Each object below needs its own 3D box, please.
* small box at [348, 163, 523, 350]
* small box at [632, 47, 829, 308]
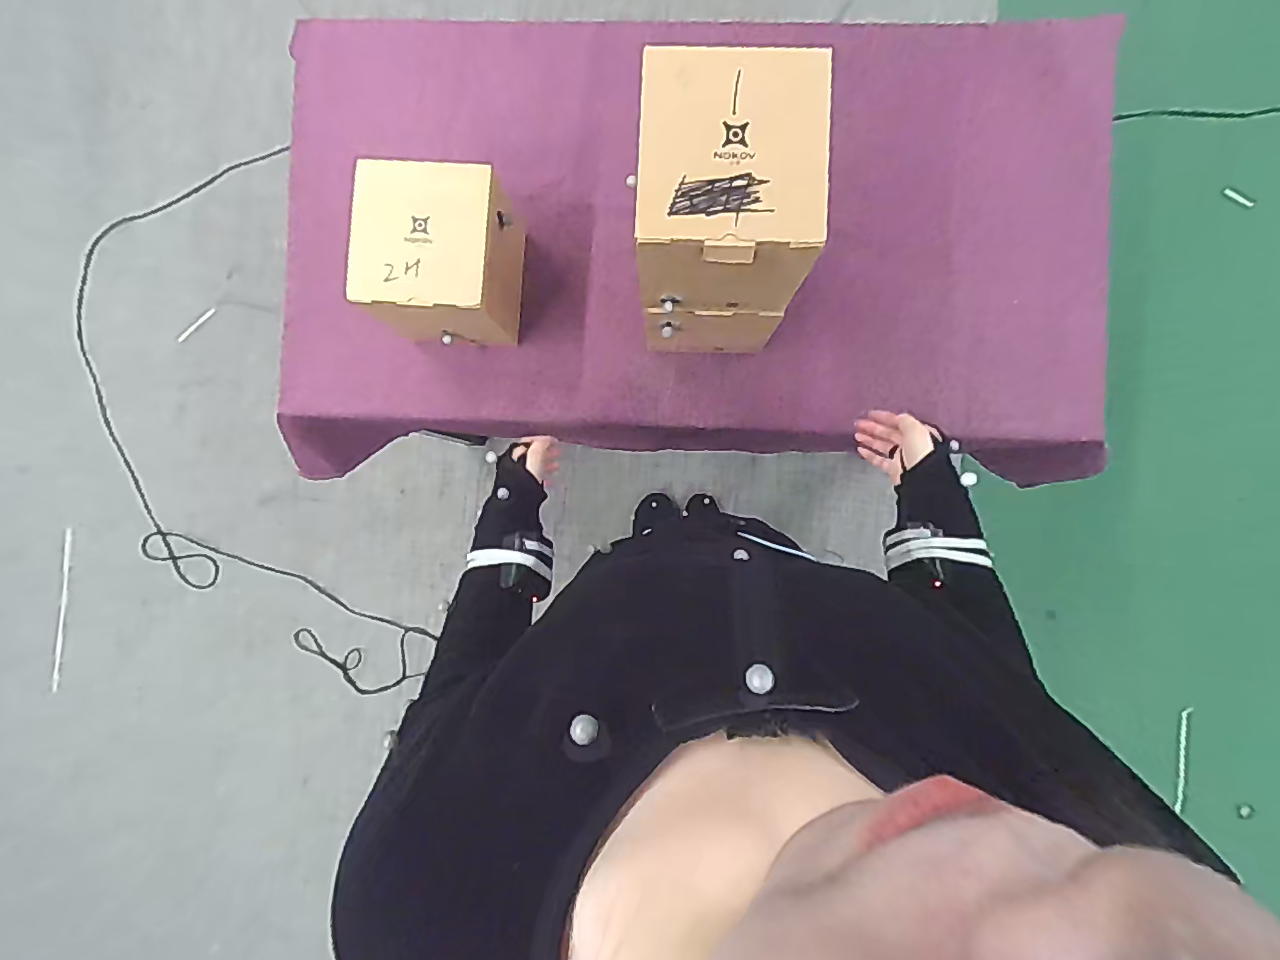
[{"bbox_3d":[-0.259,-0.287,0.723,0.168,0.176,0.179,3,88,3],"label":"small box"},{"bbox_3d":[0.082,-0.286,0.546,0.168,0.176,0.179,2,87,2],"label":"small box"}]
